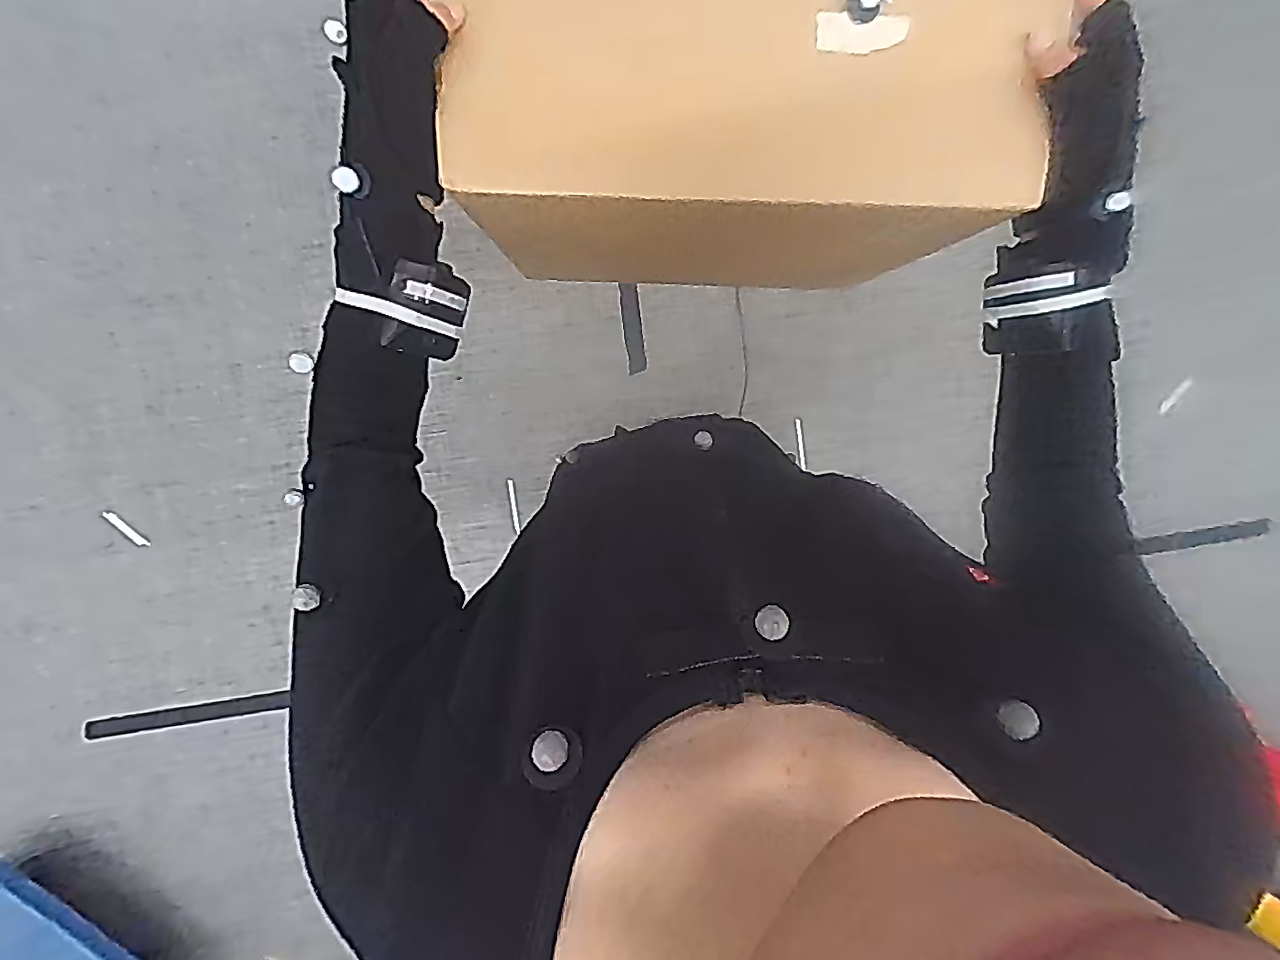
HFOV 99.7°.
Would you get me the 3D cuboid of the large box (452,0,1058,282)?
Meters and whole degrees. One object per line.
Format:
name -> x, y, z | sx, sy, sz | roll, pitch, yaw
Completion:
large box -> 0.069, -0.370, 0.490 | 0.408, 0.320, 0.320 | 0, 100, -3
